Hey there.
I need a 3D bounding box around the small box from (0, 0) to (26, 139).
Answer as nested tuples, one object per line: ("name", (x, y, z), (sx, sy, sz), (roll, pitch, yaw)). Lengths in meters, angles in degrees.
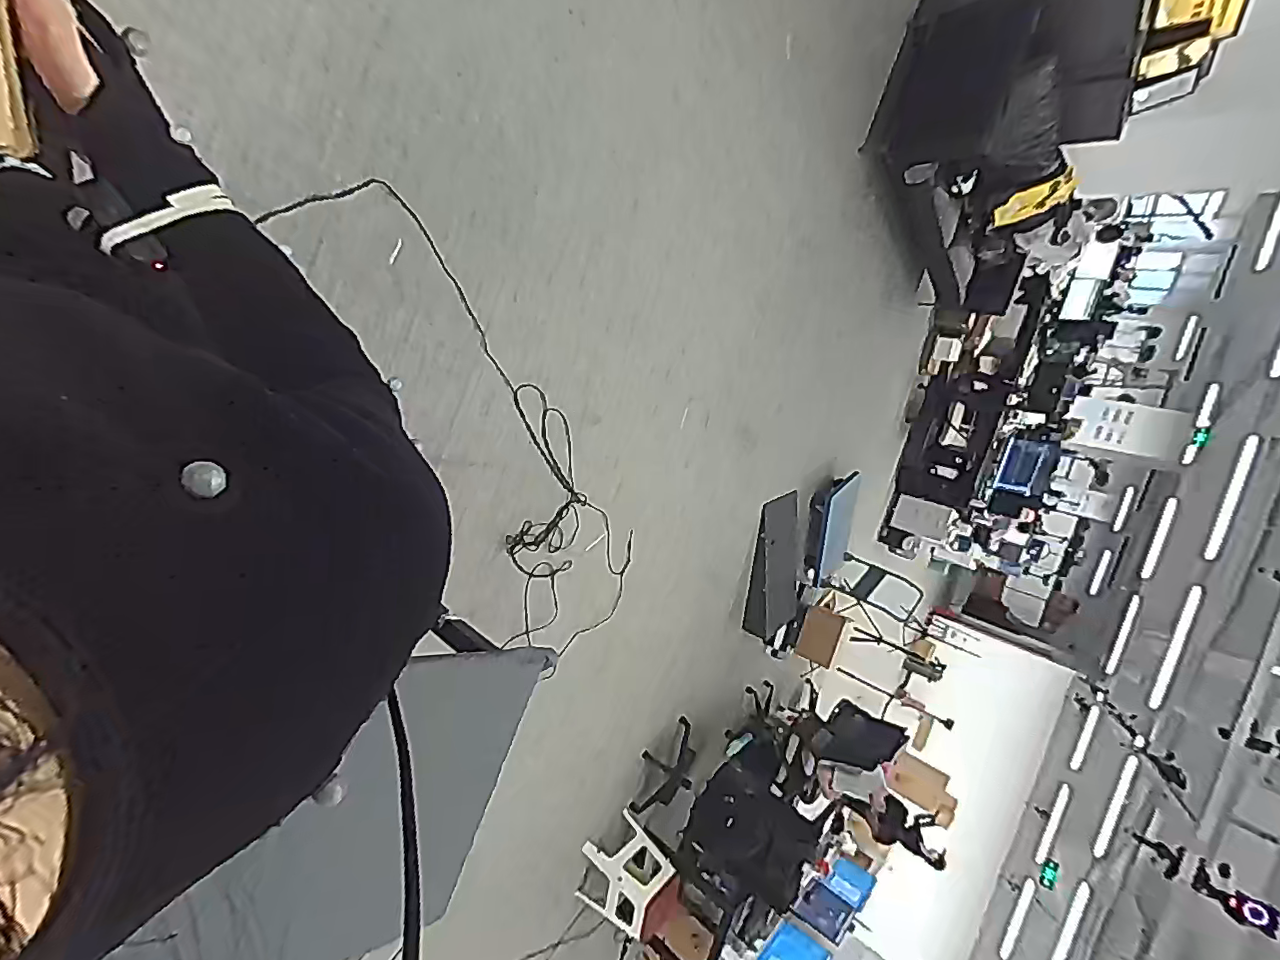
("small box", (-0.423, -0.283, 0.250), (0.168, 0.176, 0.179), (-6, 119, -43))
